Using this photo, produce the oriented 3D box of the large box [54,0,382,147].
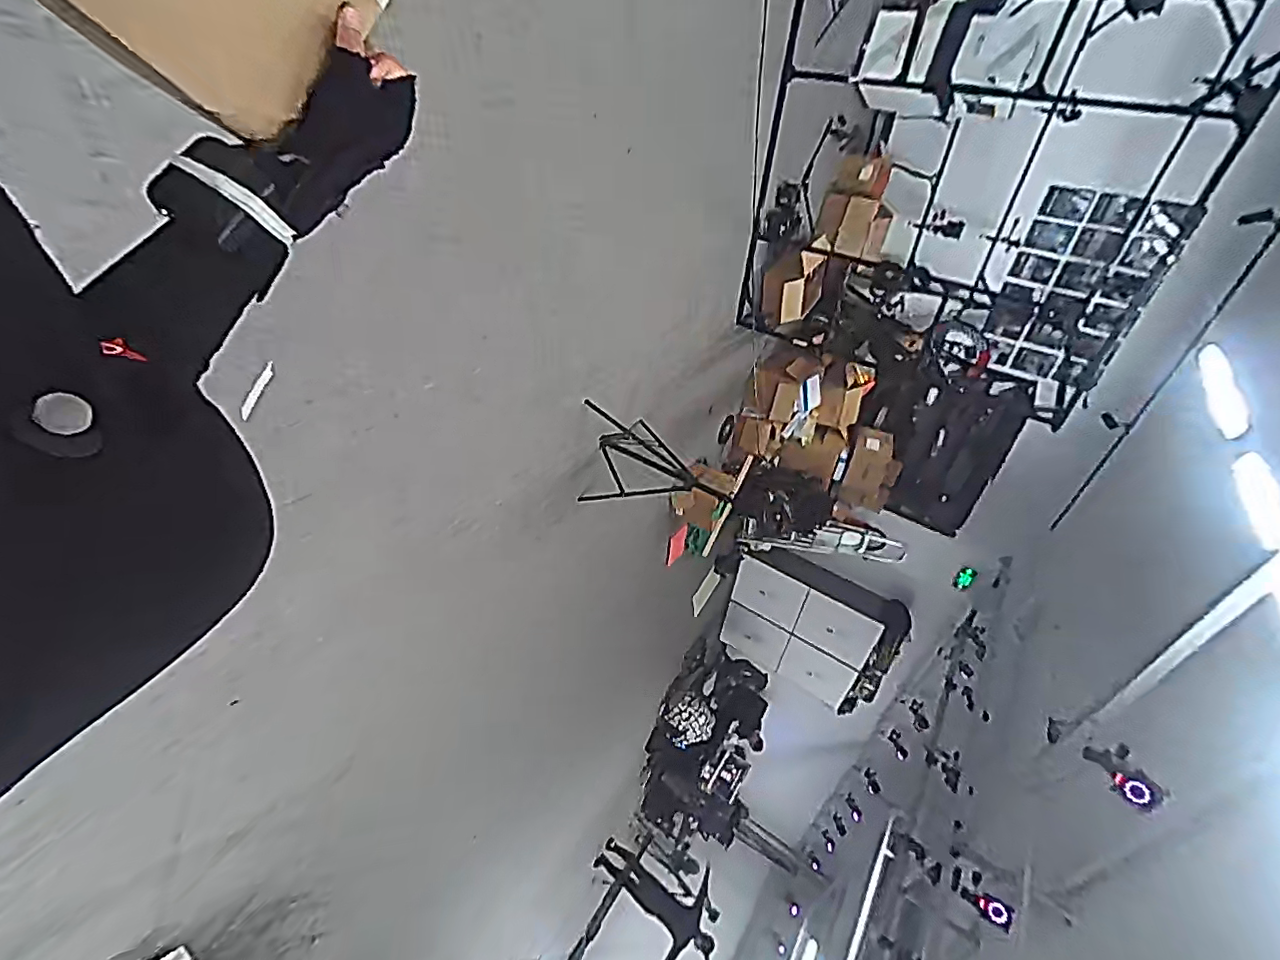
[{"bbox_3d":[-0.381,-0.509,0.309,0.320,0.320,0.408,-53,156,1],"label":"large box"}]
